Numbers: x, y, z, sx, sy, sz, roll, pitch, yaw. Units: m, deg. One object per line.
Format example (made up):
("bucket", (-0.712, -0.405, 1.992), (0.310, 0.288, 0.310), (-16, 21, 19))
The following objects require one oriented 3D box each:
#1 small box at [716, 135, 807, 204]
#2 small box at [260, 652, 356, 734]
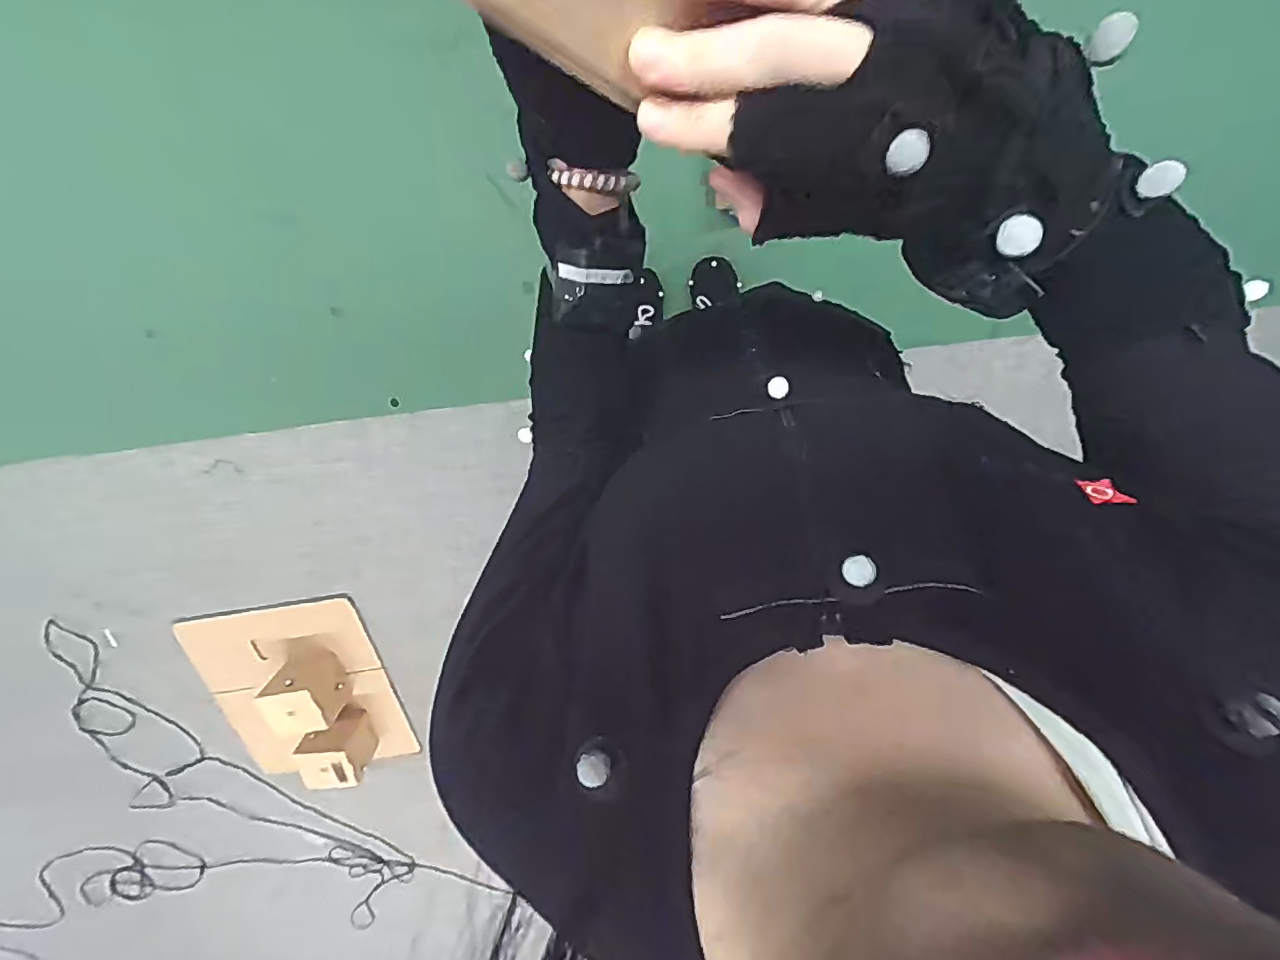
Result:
("small box", (0.257, -0.701, 1.166), (0.168, 0.176, 0.179), (-6, 112, 2))
("small box", (-1.062, 0.684, 1.746), (0.179, 0.176, 0.168), (-11, 112, 4))
